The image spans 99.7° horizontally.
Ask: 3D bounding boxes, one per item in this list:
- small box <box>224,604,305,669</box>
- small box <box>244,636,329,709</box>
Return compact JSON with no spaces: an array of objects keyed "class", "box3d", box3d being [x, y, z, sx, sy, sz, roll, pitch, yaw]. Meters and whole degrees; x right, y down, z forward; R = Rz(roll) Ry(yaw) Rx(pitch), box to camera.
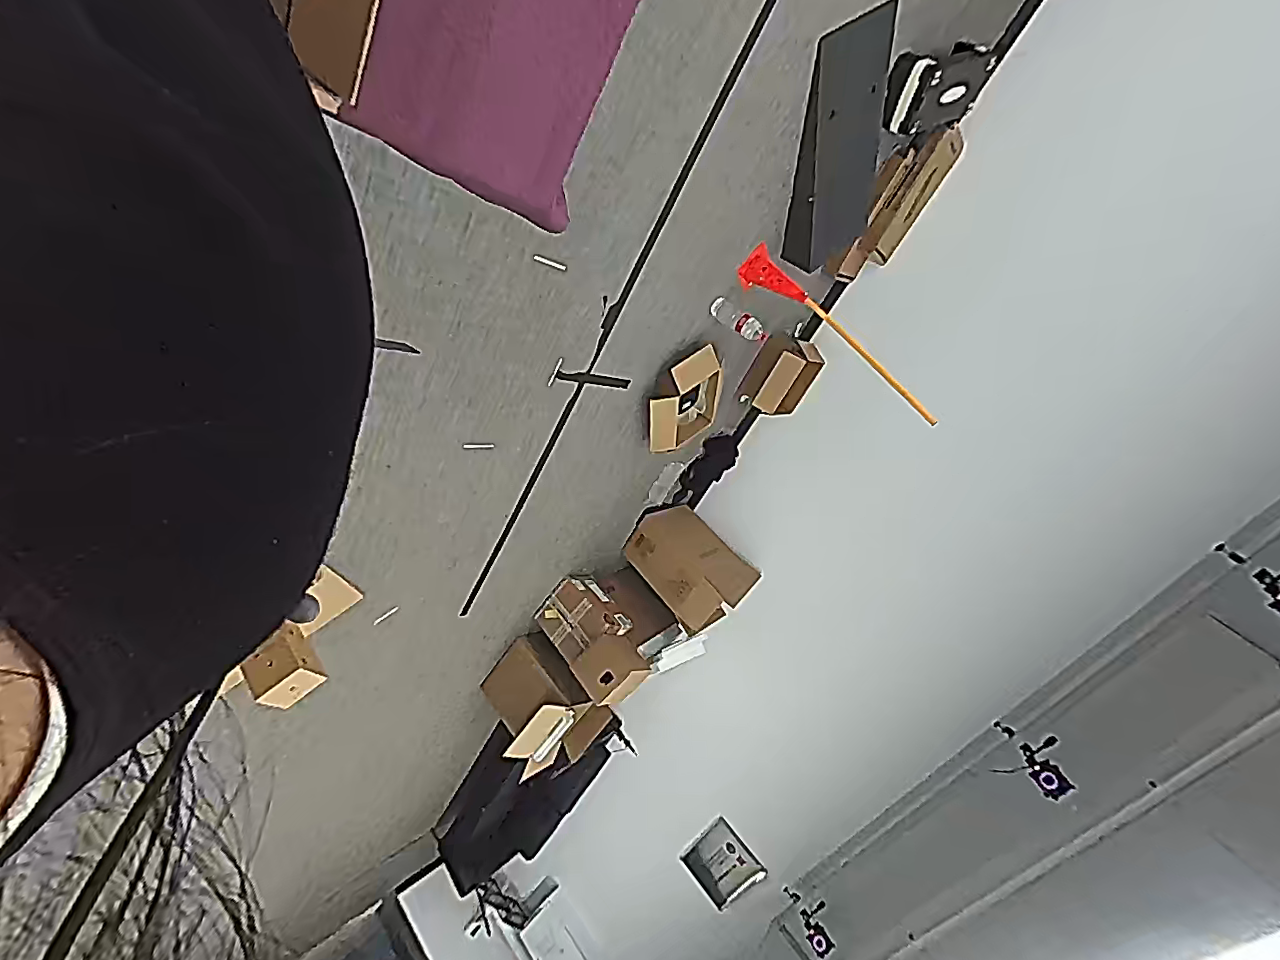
[{"class":"small box","box3d":[-1.377,0.587,1.995,0.168,0.176,0.179,-39,153,-16]},{"class":"small box","box3d":[-1.260,0.682,1.926,0.168,0.176,0.179,-37,154,-17]}]
